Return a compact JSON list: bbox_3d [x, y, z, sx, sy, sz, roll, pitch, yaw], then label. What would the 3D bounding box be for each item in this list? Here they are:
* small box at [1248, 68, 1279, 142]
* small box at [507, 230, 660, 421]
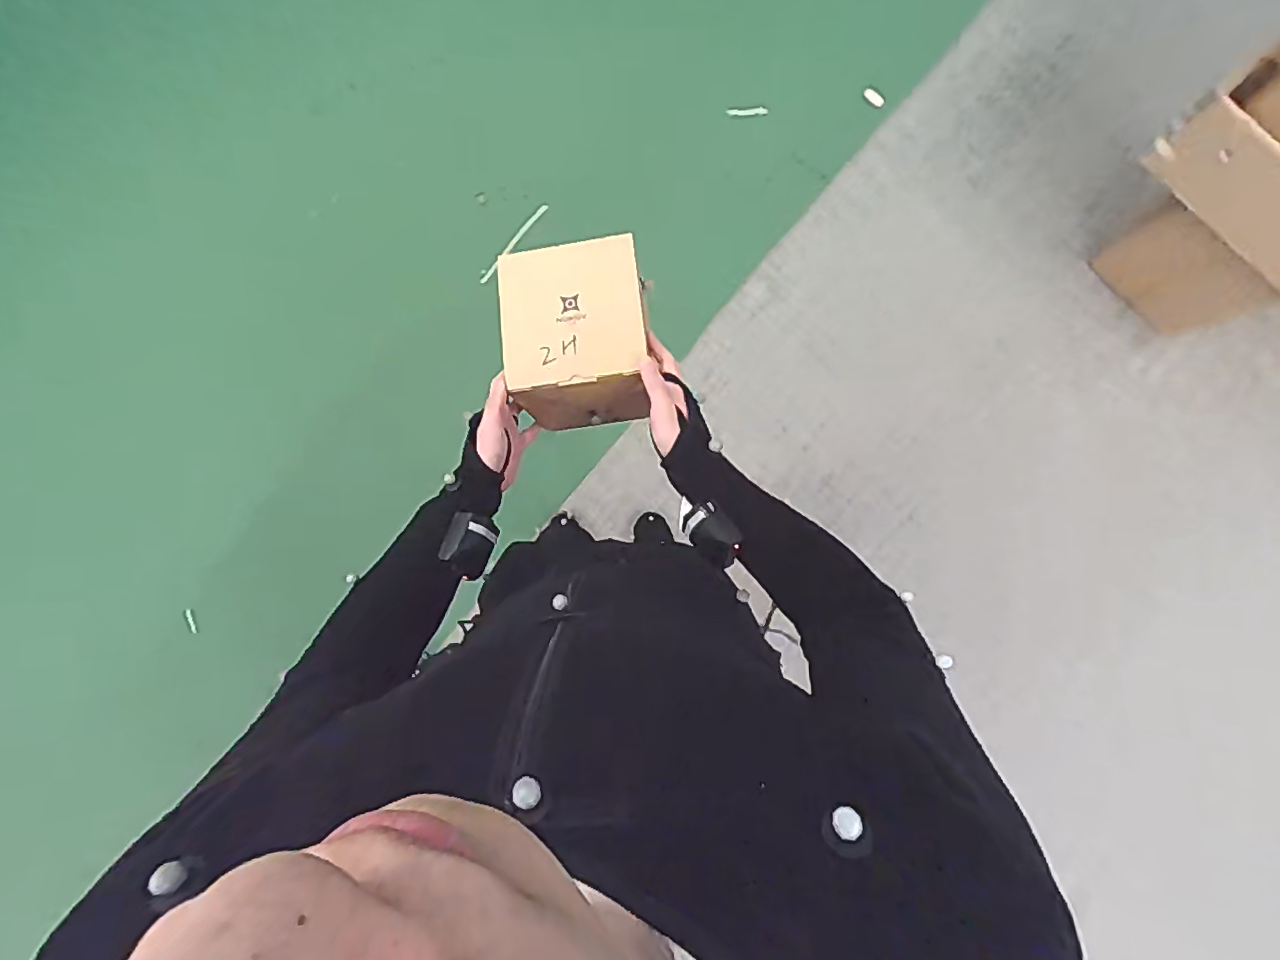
[{"bbox_3d":[1.328,-0.762,1.014,0.179,0.176,0.168,-43,85,4],"label":"small box"},{"bbox_3d":[-0.066,-0.190,0.707,0.168,0.176,0.179,-6,80,7],"label":"small box"}]
